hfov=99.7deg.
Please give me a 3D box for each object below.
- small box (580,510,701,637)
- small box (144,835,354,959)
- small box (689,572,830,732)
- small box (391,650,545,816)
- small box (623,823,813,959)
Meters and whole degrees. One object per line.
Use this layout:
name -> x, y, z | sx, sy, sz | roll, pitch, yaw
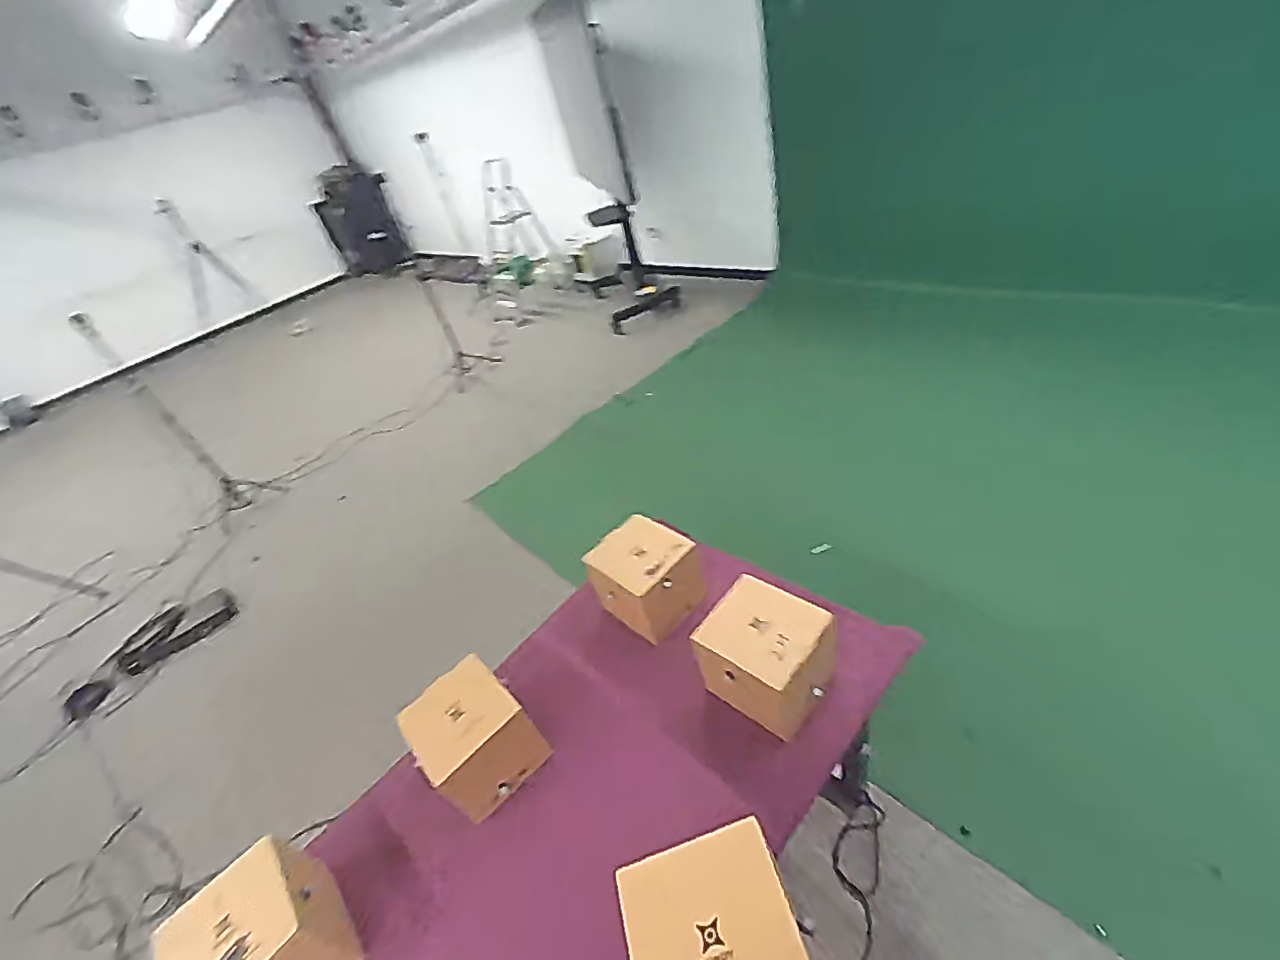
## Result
small box -> 0.006, 0.199, 1.146 | 0.179, 0.176, 0.168 | 25, 55, 40
small box -> -0.547, 0.665, 0.771 | 0.179, 0.176, 0.168 | 26, 54, 39
small box -> 0.212, 0.301, 0.946 | 0.179, 0.176, 0.168 | 23, 54, 39
small box -> -0.298, 0.447, 0.955 | 0.168, 0.176, 0.179 | -39, 45, -25
small box -> 0.095, 0.507, 0.570 | 0.168, 0.176, 0.179 | -20, 40, -1
